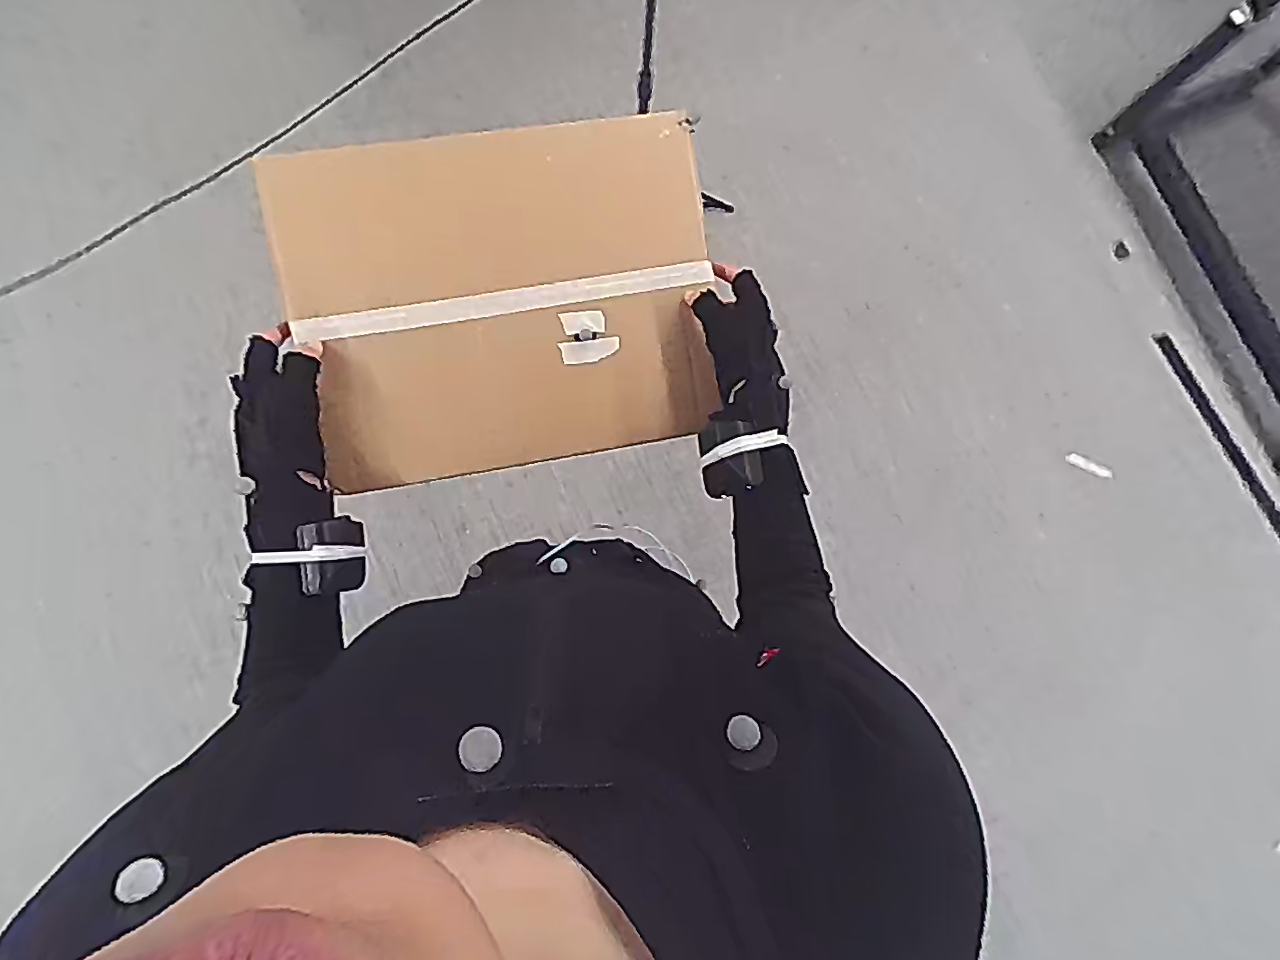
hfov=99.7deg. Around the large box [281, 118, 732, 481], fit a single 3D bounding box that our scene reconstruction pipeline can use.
[{"bbox_3d":[-0.138,-0.191,0.683,0.408,0.320,0.320,-9,96,-6],"label":"large box"}]
